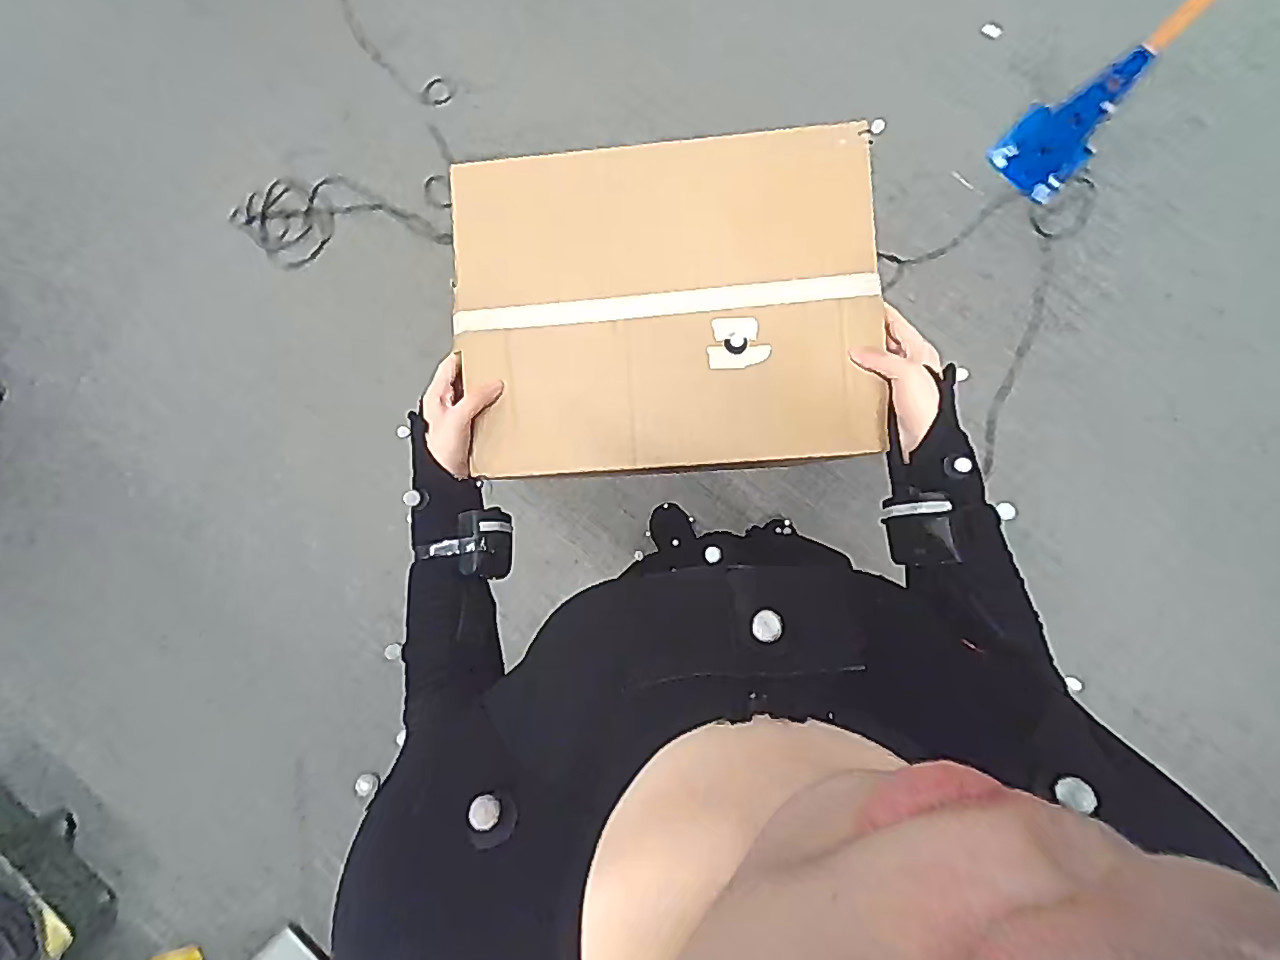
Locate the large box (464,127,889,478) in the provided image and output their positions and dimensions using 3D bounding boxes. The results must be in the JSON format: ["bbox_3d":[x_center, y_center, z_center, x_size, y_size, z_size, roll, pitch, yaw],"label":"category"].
[{"bbox_3d":[0.037,-0.171,0.674,0.408,0.320,0.320,-3,90,3],"label":"large box"}]

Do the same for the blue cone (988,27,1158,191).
[{"bbox_3d":[1.034,-0.884,1.273,0.192,0.380,0.193,-44,86,3],"label":"blue cone"}]
